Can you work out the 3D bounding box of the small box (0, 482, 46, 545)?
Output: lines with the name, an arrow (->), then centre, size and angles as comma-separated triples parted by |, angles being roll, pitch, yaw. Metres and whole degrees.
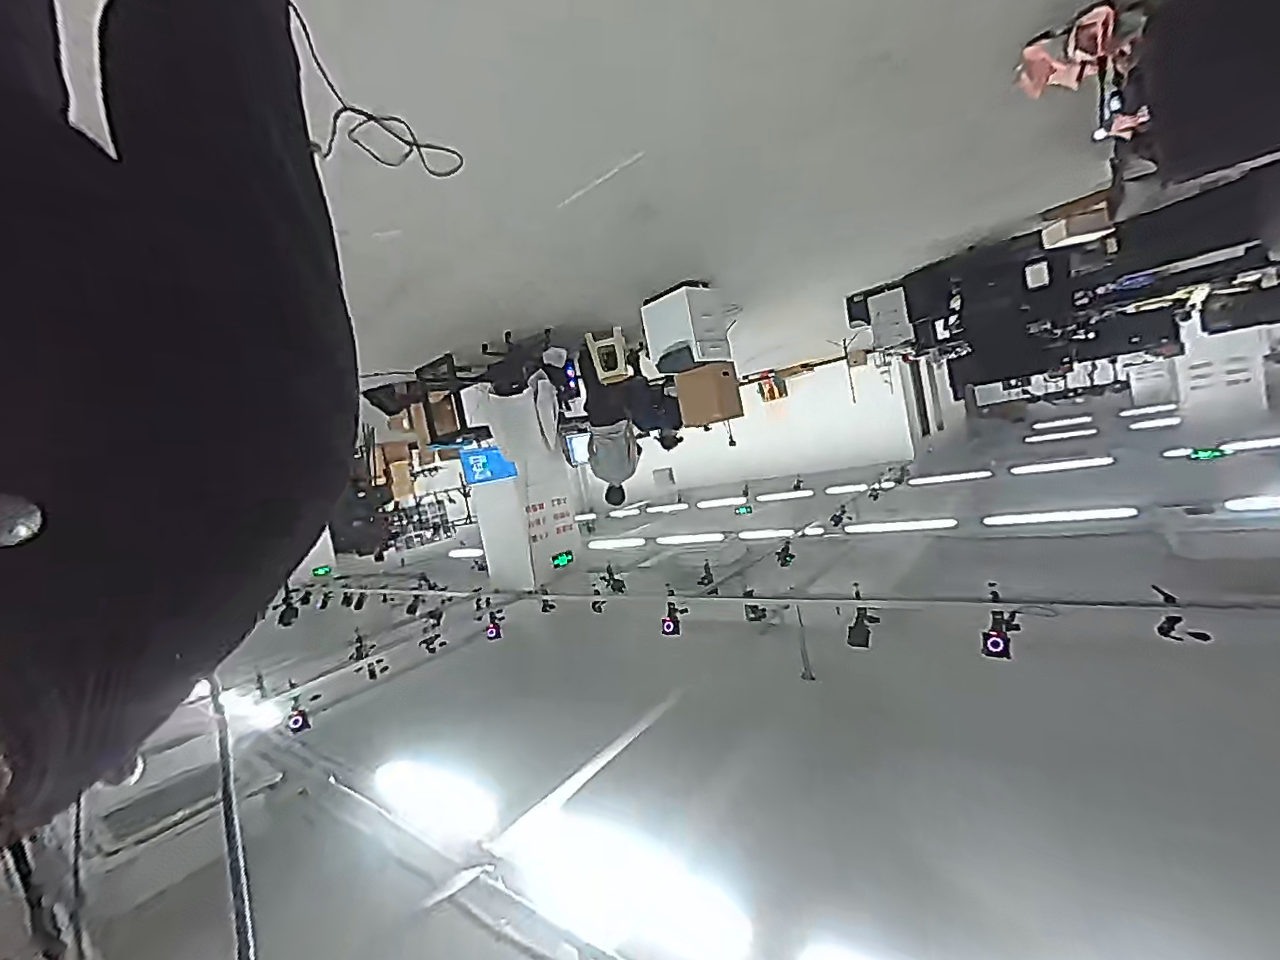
small box -> -1.955, 0.110, 1.640 | 0.168, 0.176, 0.179 | -8, -175, 40
